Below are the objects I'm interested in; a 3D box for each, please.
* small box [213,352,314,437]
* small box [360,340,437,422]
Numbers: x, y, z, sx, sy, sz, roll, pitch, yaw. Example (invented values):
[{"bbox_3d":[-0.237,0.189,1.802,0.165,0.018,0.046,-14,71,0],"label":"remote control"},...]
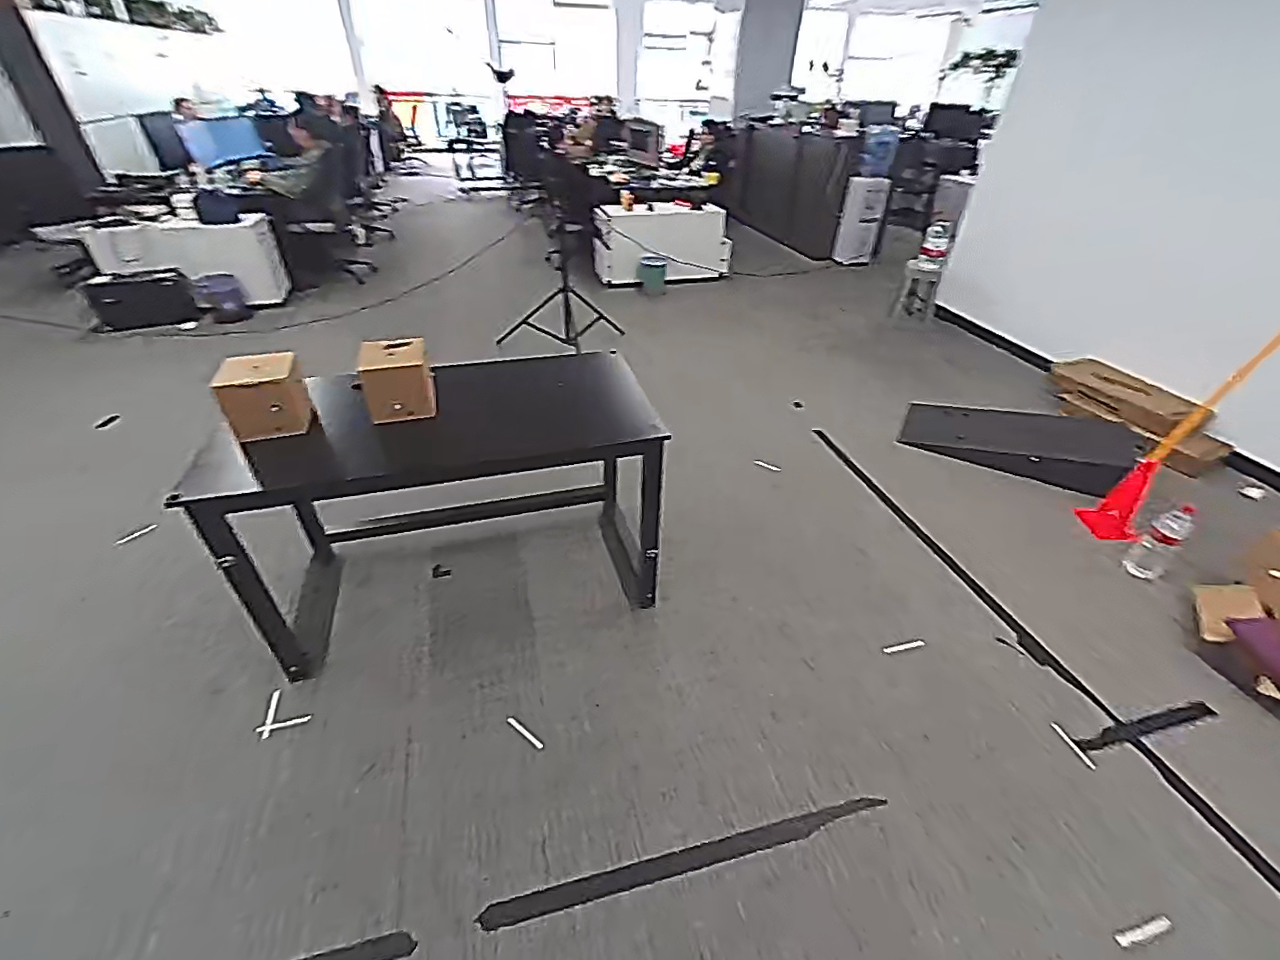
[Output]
[{"bbox_3d":[-0.996,-0.225,1.449,0.168,0.176,0.179,-10,38,-18],"label":"small box"},{"bbox_3d":[-0.681,-0.283,1.540,0.168,0.176,0.179,-9,39,-15],"label":"small box"}]
